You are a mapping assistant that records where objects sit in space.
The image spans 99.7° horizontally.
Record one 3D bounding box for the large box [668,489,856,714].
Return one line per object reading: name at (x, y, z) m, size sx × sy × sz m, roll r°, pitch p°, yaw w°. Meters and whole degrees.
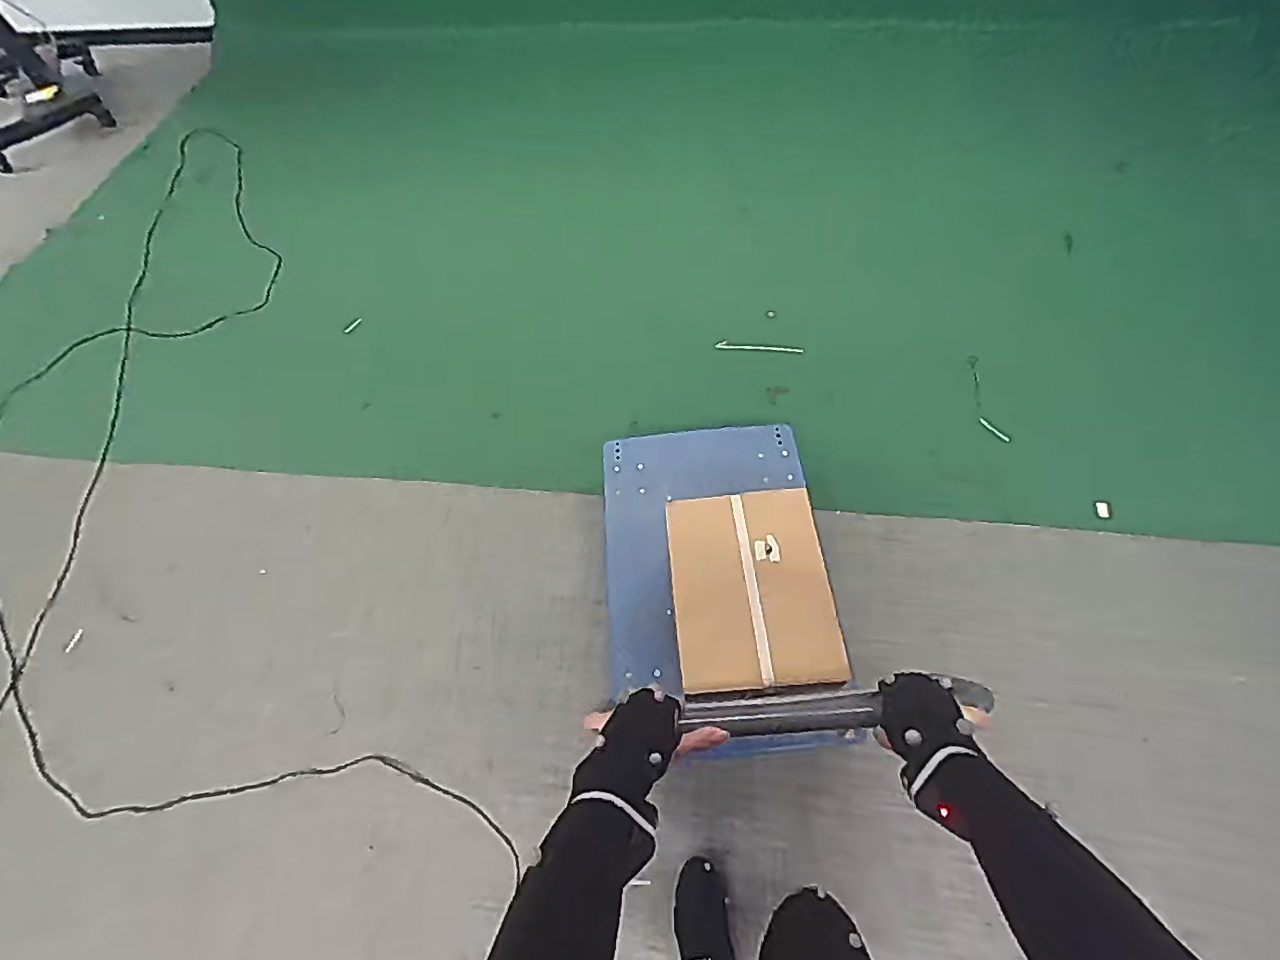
large box at (0.242, 0.279, 1.213) m, size 0.320 × 0.320 × 0.408 m, roll -6°, pitch 60°, yaw 1°
